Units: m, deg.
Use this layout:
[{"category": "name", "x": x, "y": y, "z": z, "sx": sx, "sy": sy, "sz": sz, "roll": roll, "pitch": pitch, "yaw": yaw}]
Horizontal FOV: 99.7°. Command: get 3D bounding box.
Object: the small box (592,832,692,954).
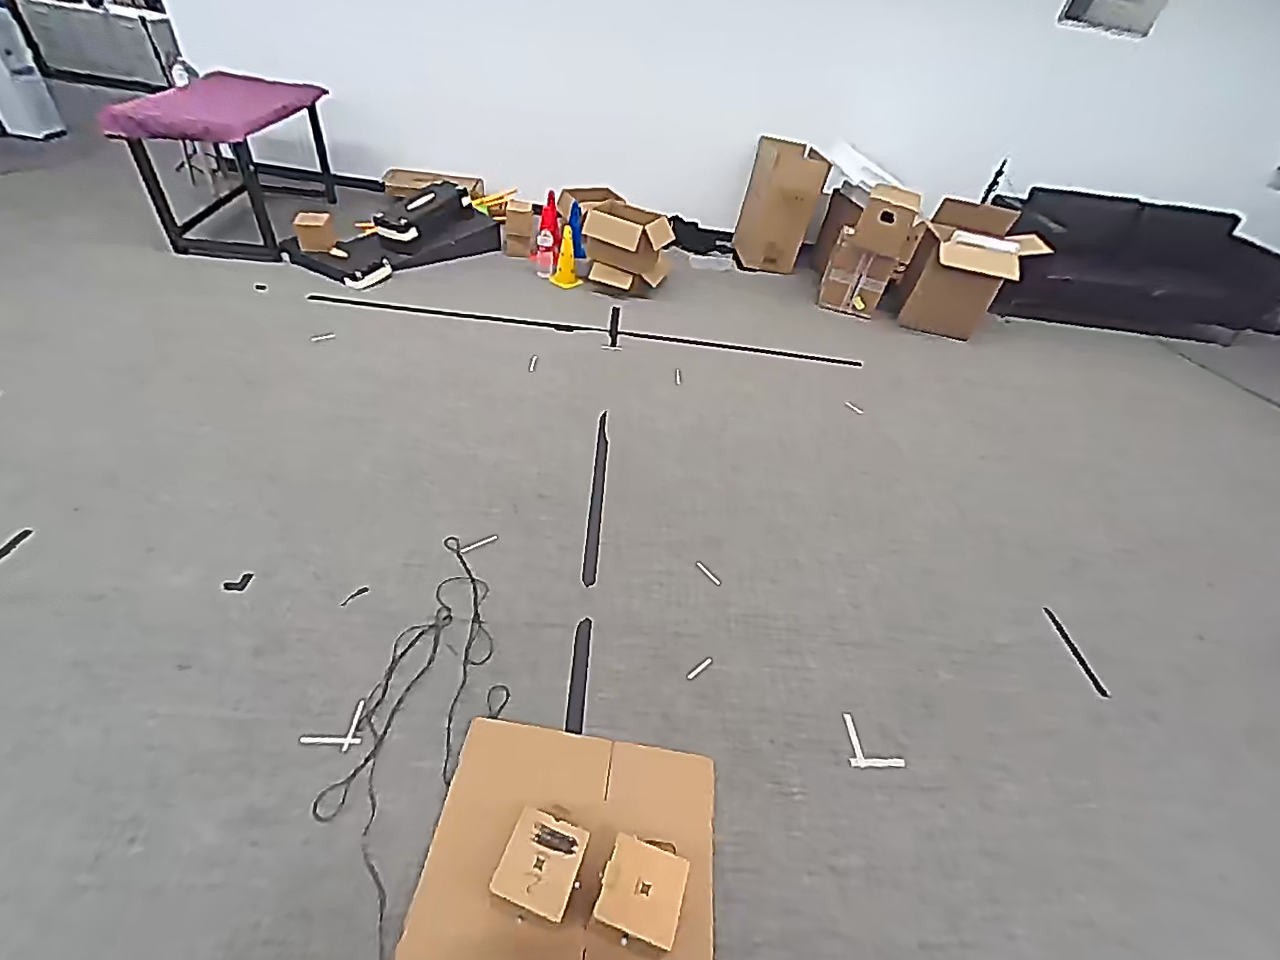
[{"category": "small box", "x": 0.001, "y": 0.948, "z": 1.236, "sx": 0.179, "sy": 0.176, "sz": 0.168, "roll": 18, "pitch": 43, "yaw": 9}]
